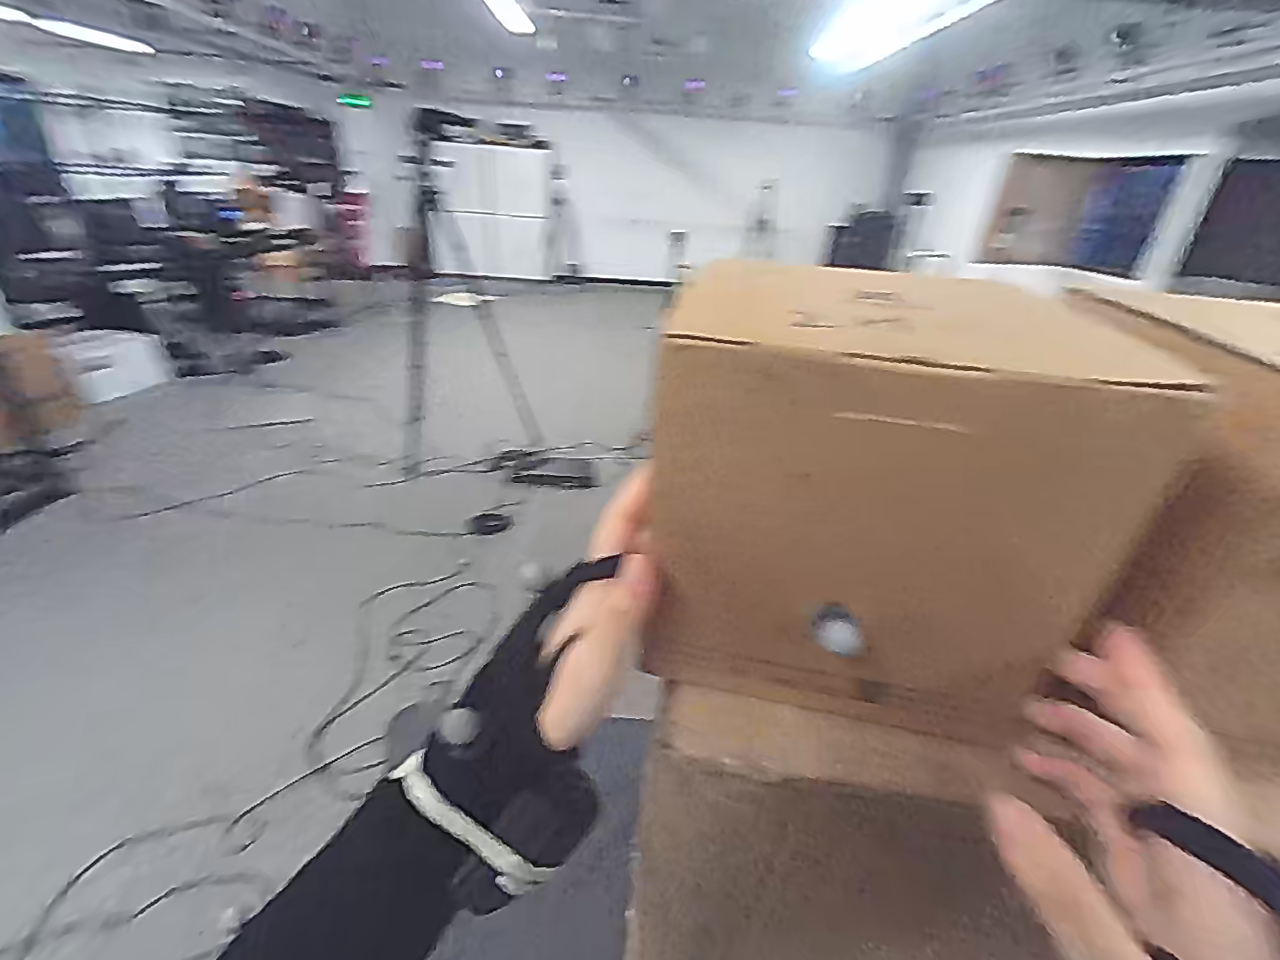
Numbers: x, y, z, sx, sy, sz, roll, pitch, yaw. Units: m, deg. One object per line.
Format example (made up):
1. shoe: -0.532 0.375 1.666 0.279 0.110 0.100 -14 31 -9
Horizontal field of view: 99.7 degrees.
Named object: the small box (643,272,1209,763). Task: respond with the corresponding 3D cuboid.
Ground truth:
1. small box: 0.099 0.002 0.279 0.168 0.176 0.179 9 32 9
